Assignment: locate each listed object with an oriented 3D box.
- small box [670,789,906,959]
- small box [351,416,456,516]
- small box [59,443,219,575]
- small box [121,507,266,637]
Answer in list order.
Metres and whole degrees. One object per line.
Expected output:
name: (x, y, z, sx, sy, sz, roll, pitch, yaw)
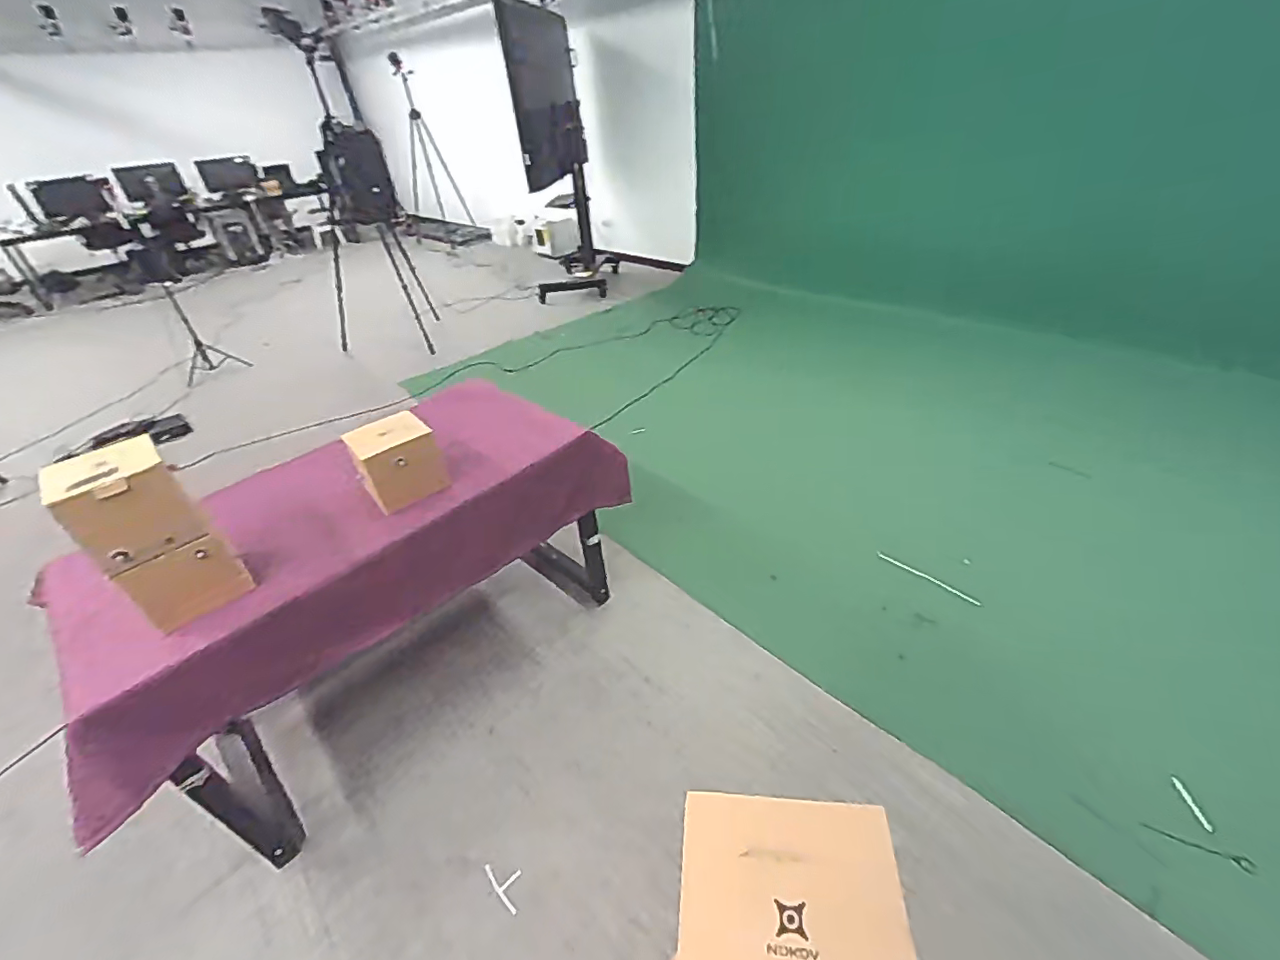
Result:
small box: (0.117, 0.387, 0.445, 0.168, 0.176, 0.179, -1, 38, 10)
small box: (-0.603, -0.036, 1.392, 0.179, 0.176, 0.168, -30, 42, -29)
small box: (-0.955, 0.058, 1.041, 0.168, 0.176, 0.179, -33, 42, -33)
small box: (-0.935, 0.192, 1.134, 0.179, 0.176, 0.168, -33, 43, -32)
